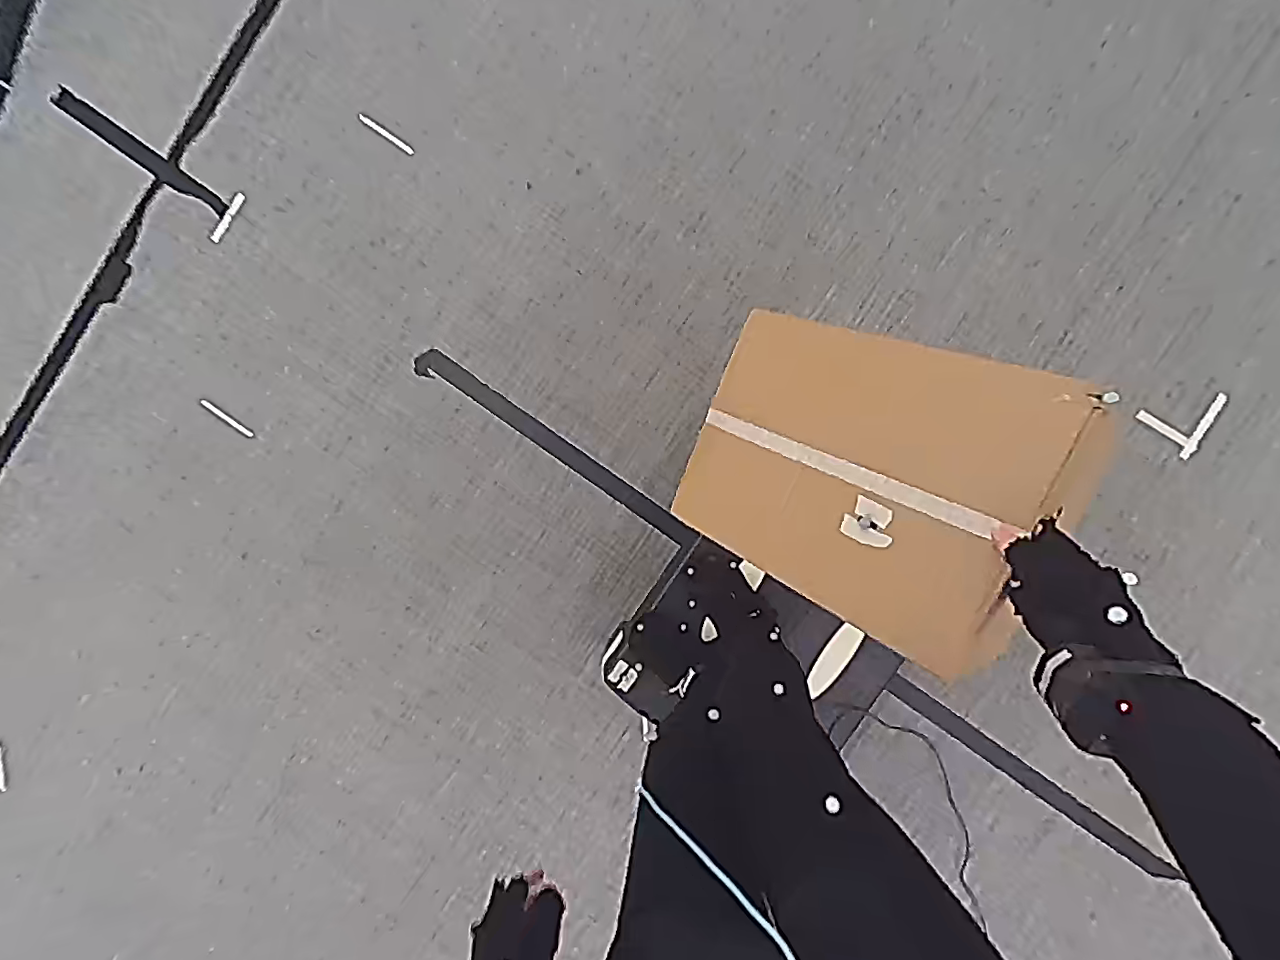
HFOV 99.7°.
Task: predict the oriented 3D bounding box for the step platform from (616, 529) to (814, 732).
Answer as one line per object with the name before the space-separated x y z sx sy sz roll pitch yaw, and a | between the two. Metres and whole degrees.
step platform | 0.228 0.206 1.224 0.286 0.204 0.684 33 91 1

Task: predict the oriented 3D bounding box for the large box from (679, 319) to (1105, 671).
large box | 0.337 0.003 0.760 0.408 0.320 0.320 30 104 40
